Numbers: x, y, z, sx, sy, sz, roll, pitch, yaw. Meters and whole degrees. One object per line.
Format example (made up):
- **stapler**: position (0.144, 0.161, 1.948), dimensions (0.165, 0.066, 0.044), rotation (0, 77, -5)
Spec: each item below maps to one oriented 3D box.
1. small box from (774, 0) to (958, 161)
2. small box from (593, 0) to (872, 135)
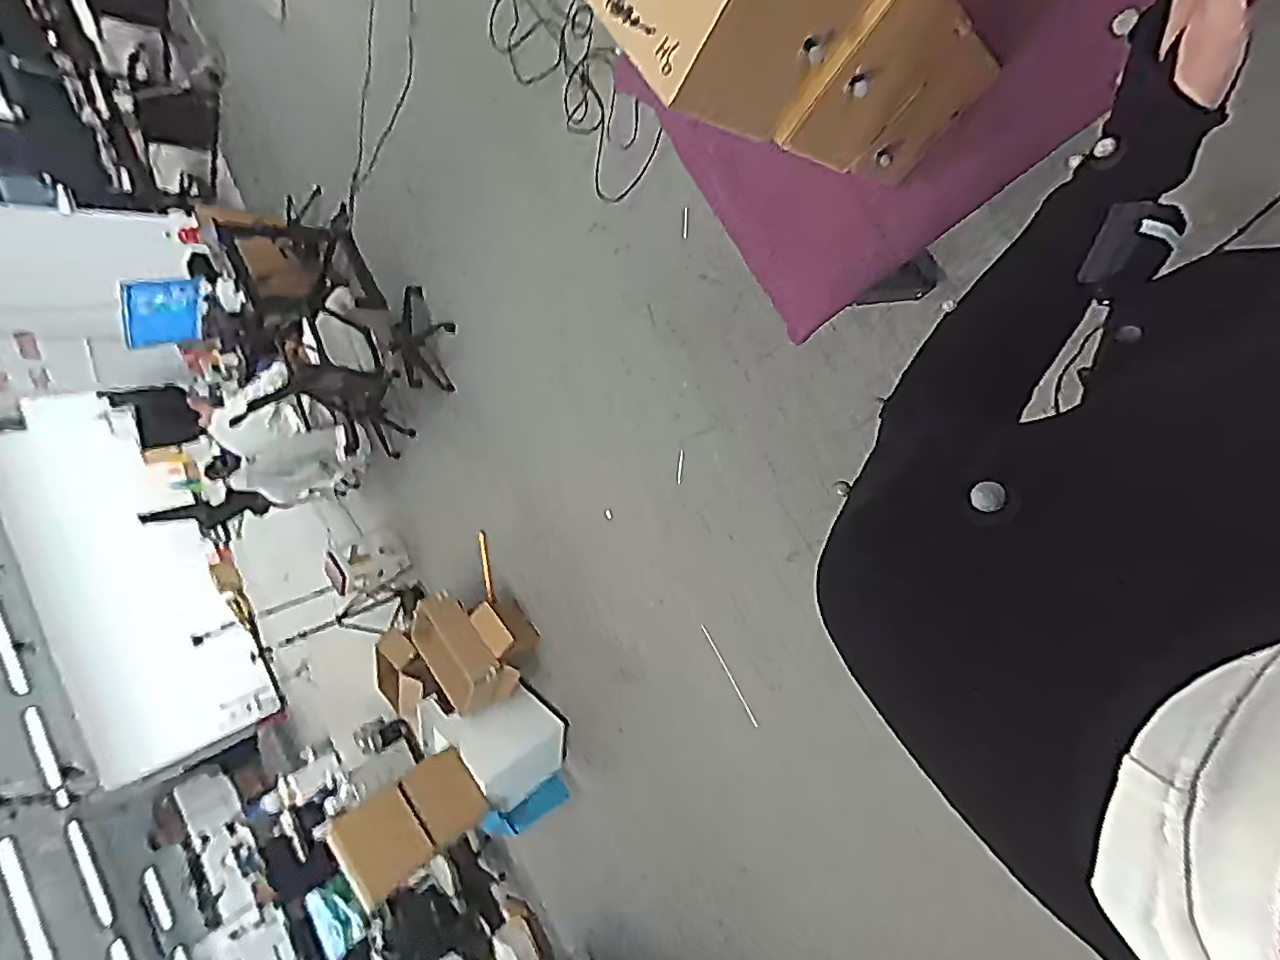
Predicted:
- **small box**: position (0.209, -0.485, 0.583), dimensions (0.168, 0.176, 0.179), rotation (57, 135, 12)
- **small box**: position (0.087, -0.451, 0.478), dimensions (0.179, 0.176, 0.168), rotation (-43, 74, 43)
